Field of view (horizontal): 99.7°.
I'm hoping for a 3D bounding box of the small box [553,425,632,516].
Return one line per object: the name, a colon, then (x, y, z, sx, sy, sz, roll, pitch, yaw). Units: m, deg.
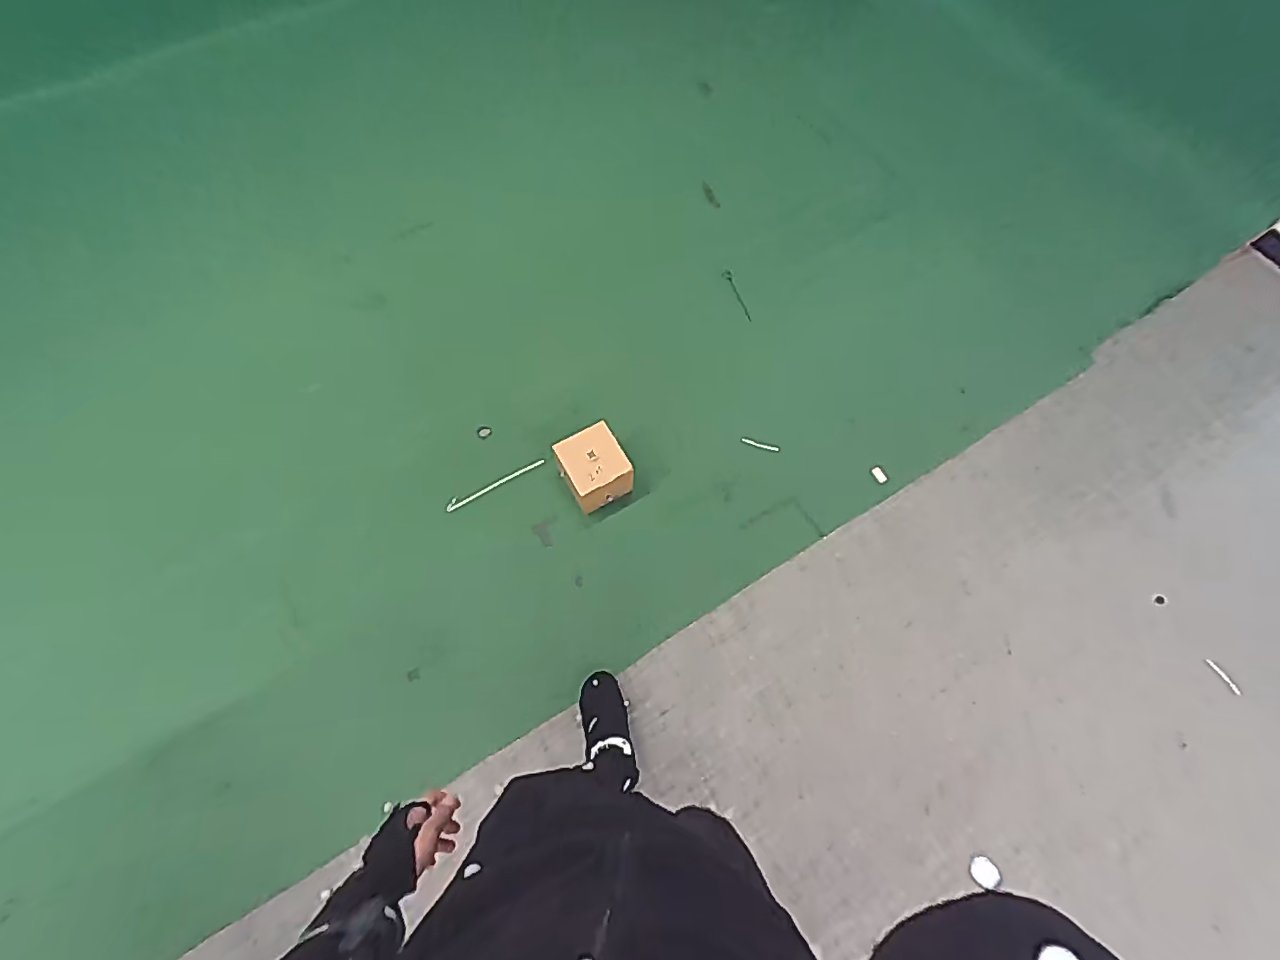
small box: (-0.136, -0.022, 1.562, 0.168, 0.176, 0.179, -28, 72, -12)
